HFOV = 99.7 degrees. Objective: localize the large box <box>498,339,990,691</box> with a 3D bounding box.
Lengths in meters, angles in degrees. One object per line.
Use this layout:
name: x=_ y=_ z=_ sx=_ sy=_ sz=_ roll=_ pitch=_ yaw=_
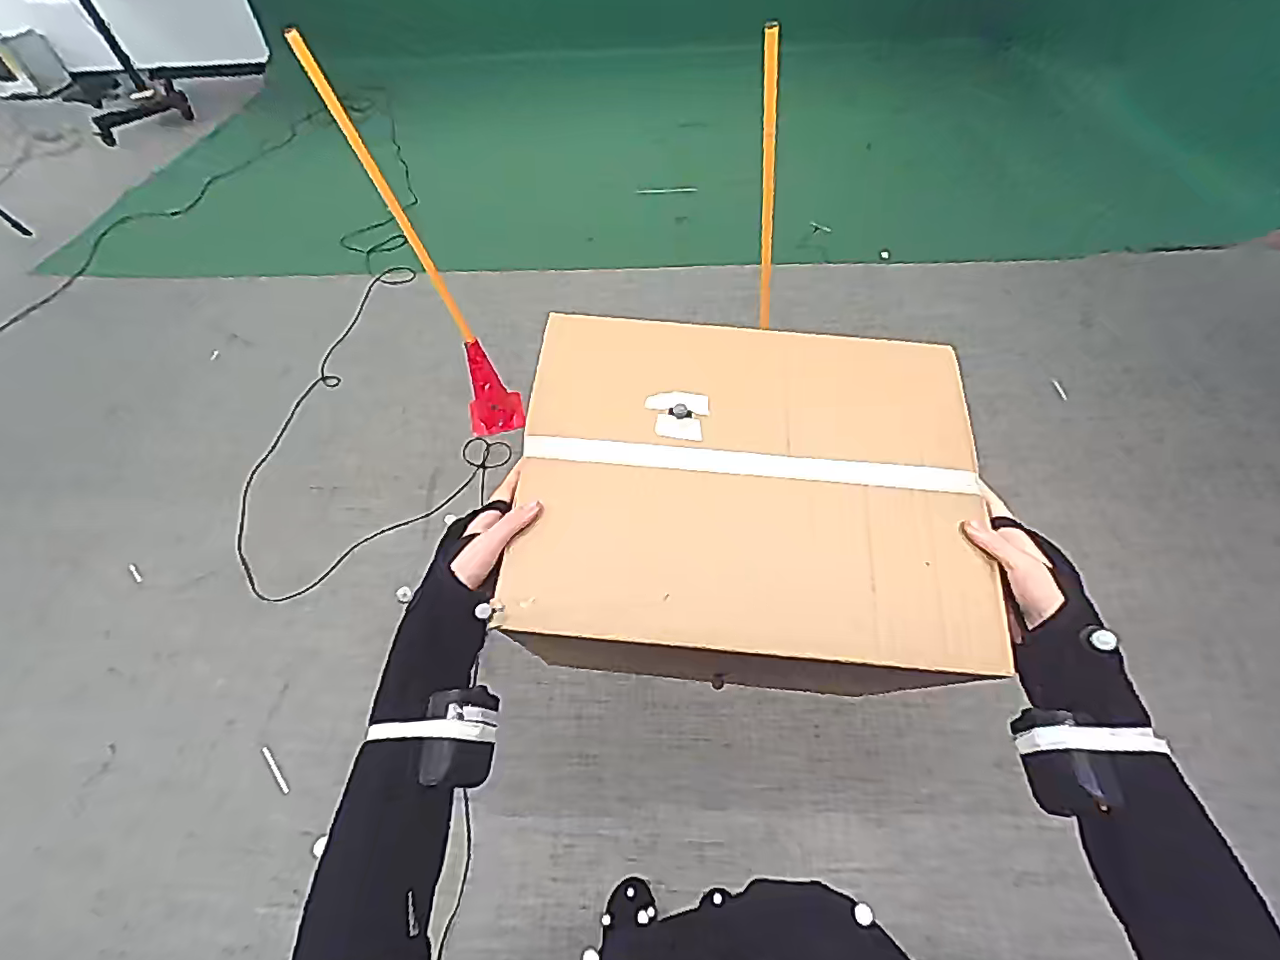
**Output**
large box: x=0.095 y=0.065 z=0.628 sx=0.408 sy=0.320 sz=0.320 roll=5 pitch=66 yaw=2
